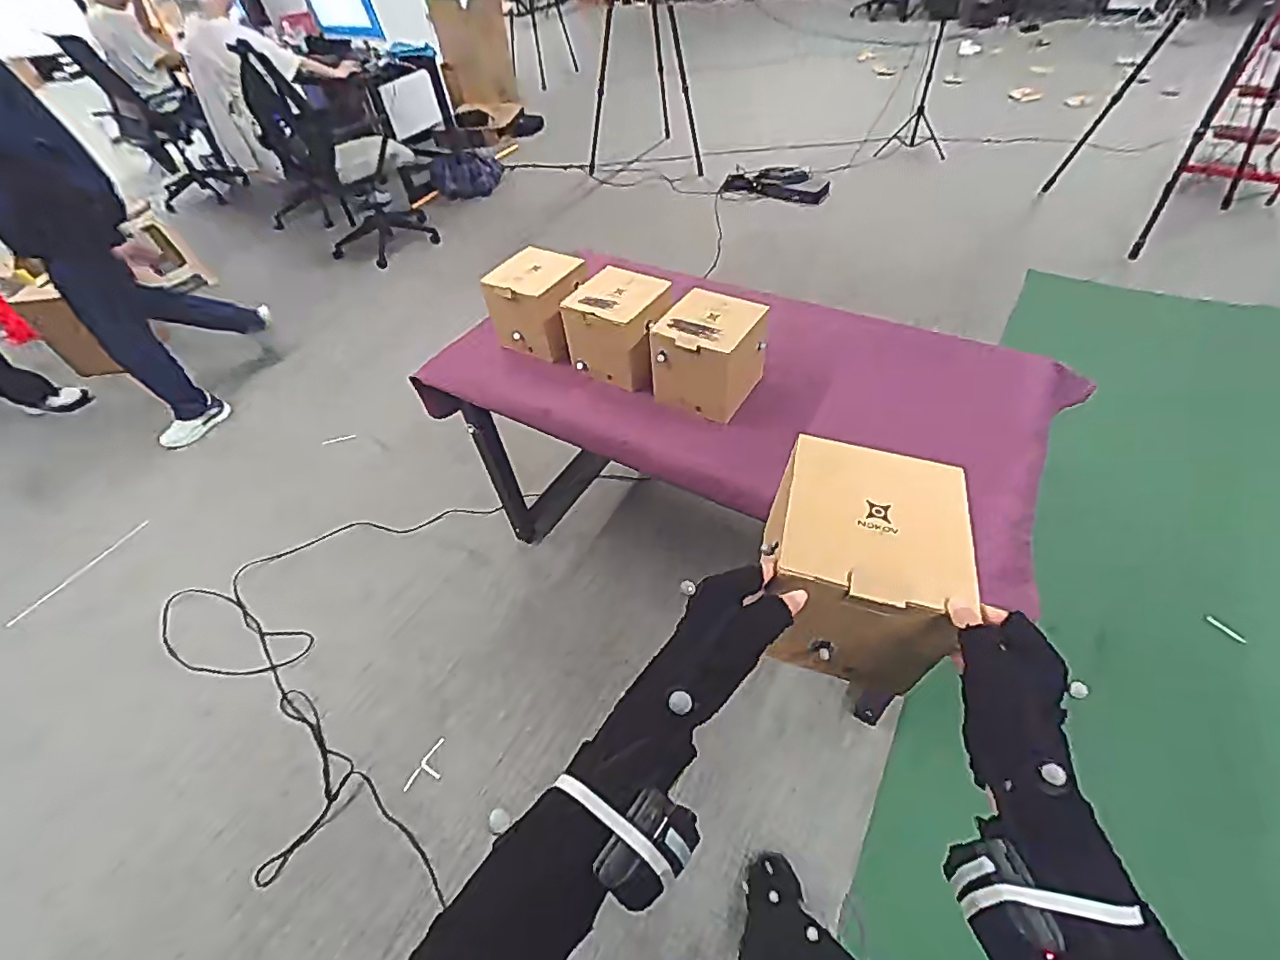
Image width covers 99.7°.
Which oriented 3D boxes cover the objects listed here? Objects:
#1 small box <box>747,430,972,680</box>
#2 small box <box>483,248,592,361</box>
[{"bbox_3d":[0.217,0.080,0.570,0.168,0.176,0.179,13,51,10],"label":"small box"},{"bbox_3d":[-0.227,-0.405,1.250,0.168,0.176,0.179,22,55,24],"label":"small box"}]
